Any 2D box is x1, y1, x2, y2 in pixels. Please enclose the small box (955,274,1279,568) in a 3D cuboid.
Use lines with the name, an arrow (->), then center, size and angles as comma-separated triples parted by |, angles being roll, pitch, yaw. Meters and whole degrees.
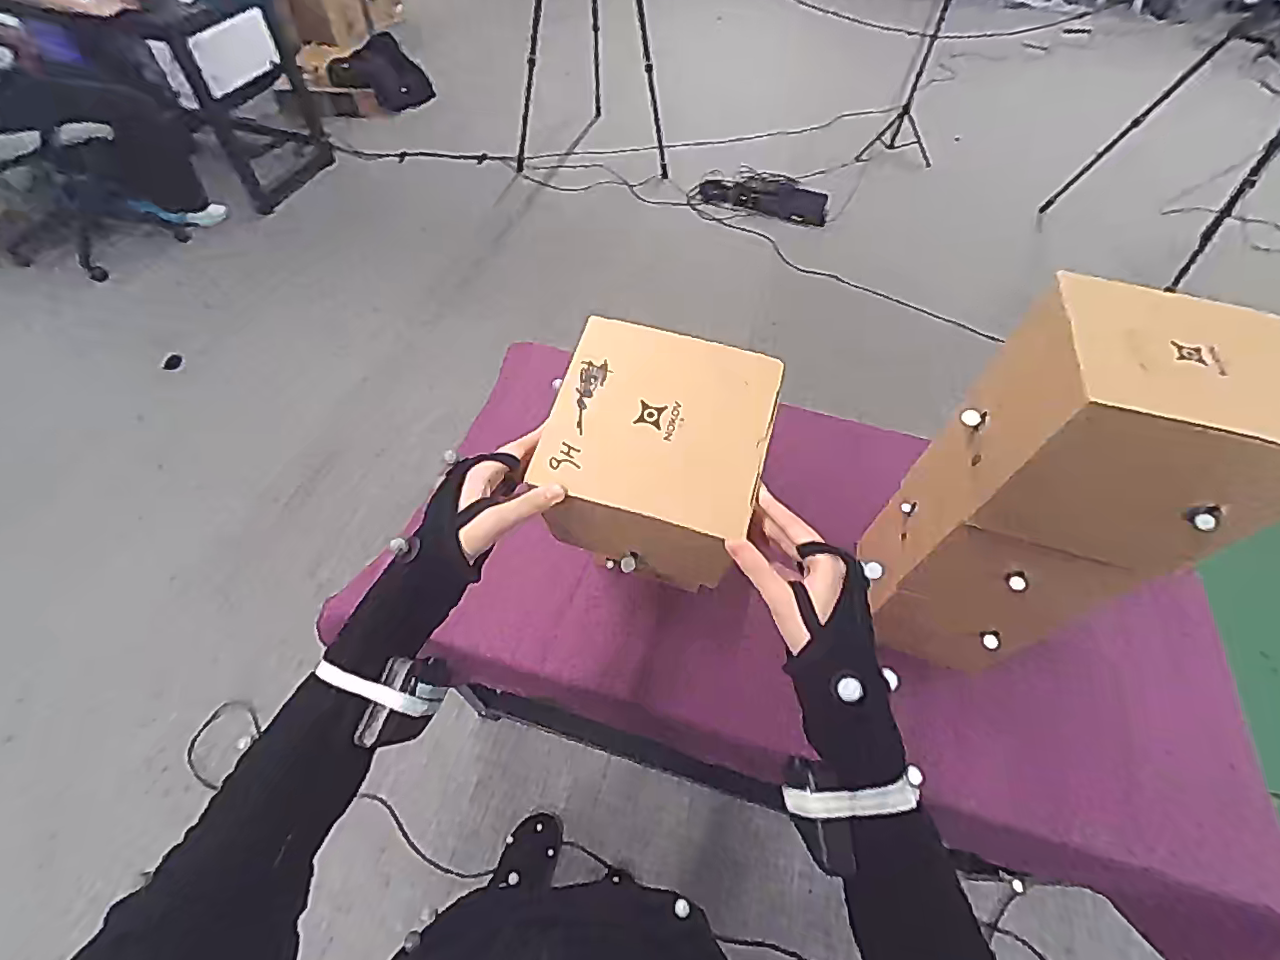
small box -> 0.407, -0.043, 0.471 | 0.179, 0.176, 0.168 | 16, 55, 8

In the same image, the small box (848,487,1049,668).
small box -> 0.410, 0.140, 0.743 | 0.179, 0.176, 0.168 | 16, 55, 8

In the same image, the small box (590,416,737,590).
small box -> 0.034, 0.039, 0.797 | 0.168, 0.176, 0.179 | 15, 55, 7
